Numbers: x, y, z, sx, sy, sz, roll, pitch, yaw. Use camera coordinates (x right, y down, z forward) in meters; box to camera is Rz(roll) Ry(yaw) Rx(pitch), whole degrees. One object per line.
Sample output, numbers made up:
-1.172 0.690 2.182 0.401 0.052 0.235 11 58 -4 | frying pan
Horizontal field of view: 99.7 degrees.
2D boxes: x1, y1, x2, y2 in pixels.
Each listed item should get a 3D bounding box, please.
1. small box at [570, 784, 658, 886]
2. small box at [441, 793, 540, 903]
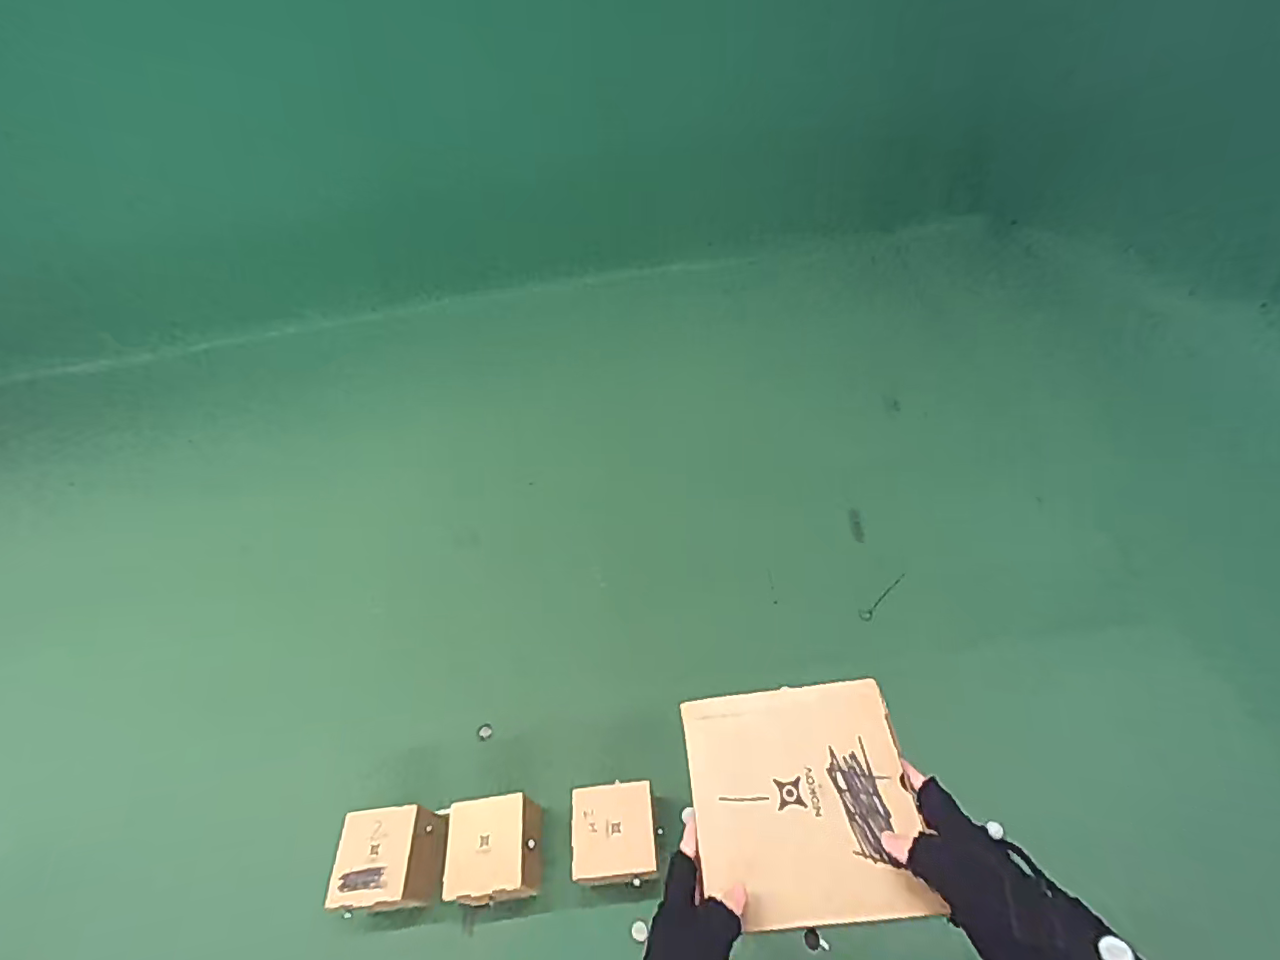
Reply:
-0.053 0.791 1.203 0.179 0.176 0.168 -7 49 2 | small box
-0.326 0.827 1.213 0.168 0.176 0.179 -9 50 0 | small box
